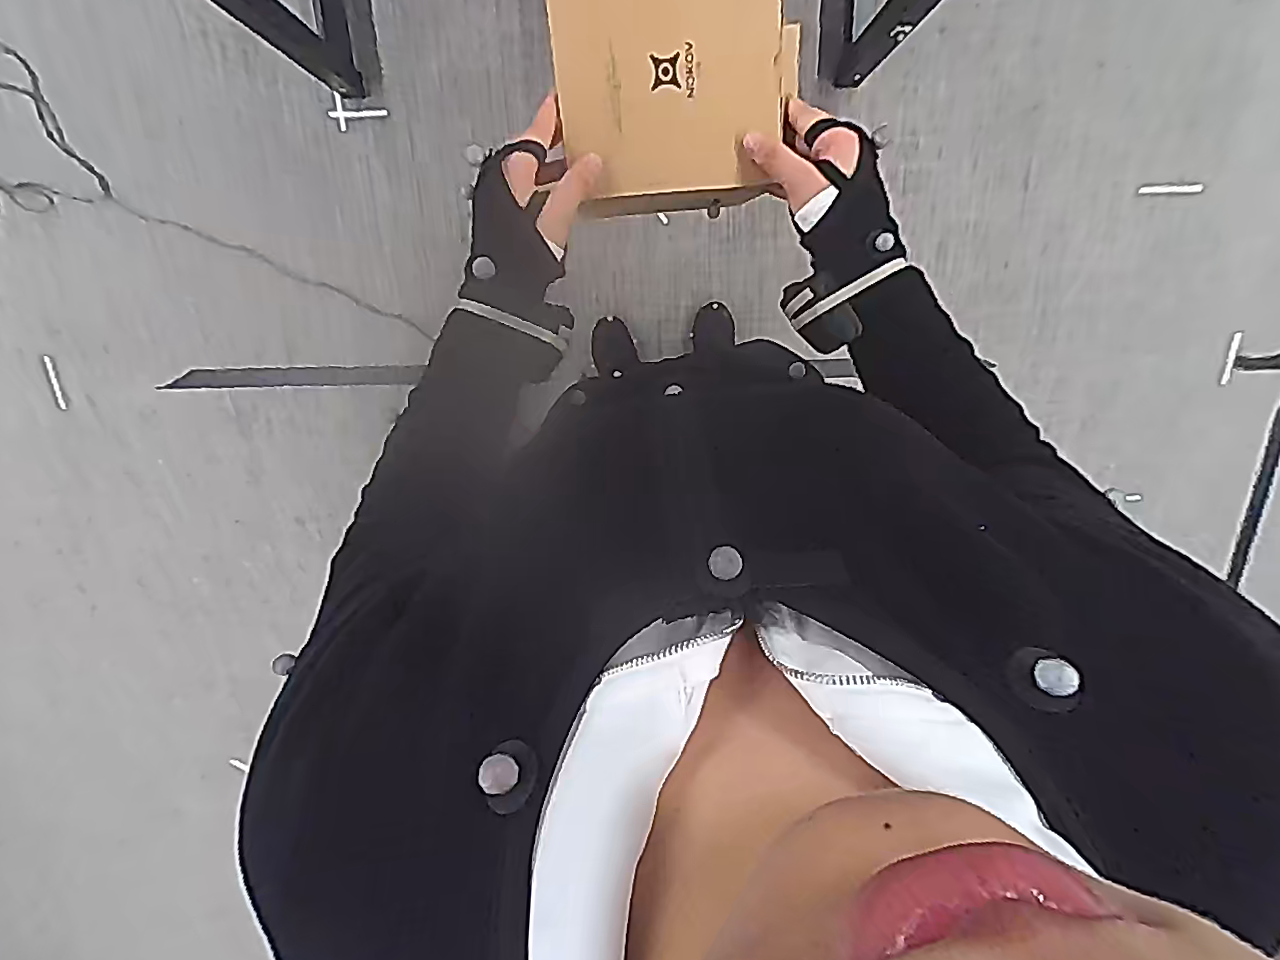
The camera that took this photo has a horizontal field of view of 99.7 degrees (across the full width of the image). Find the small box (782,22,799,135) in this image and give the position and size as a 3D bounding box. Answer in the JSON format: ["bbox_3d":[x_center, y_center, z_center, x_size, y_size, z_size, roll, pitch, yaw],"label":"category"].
[{"bbox_3d":[0.240,-0.851,1.178,0.168,0.176,0.179,-2,107,1],"label":"small box"}]

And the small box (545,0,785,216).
[{"bbox_3d":[0.018,-0.340,0.479,0.179,0.176,0.168,-6,110,0],"label":"small box"}]
